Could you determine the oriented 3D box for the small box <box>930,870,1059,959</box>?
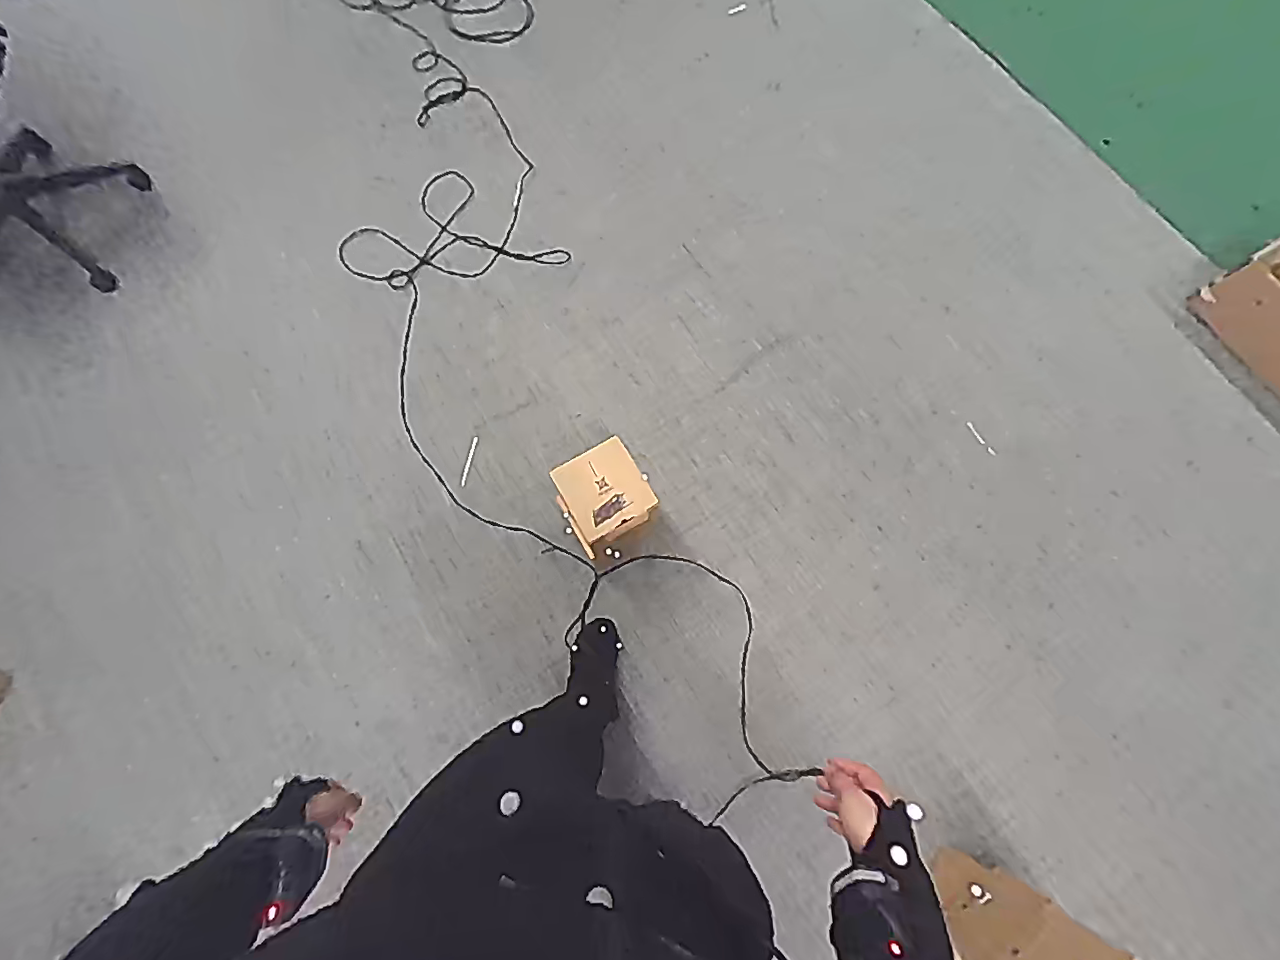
[{"bbox_3d":[0.669,0.852,0.961,0.168,0.176,0.179,-33,76,-10],"label":"small box"}]

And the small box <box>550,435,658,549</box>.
[{"bbox_3d":[-0.073,0.036,1.176,0.168,0.176,0.179,-29,75,-9],"label":"small box"}]

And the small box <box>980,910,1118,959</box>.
[{"bbox_3d":[0.662,0.806,0.803,0.168,0.176,0.179,-33,78,-10],"label":"small box"}]

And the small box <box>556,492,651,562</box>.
[{"bbox_3d":[-0.084,0.089,1.332,0.168,0.176,0.179,-30,76,-9],"label":"small box"}]

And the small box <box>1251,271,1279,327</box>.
[{"bbox_3d":[1.860,-0.535,1.472,0.179,0.176,0.168,-32,77,-8],"label":"small box"}]
